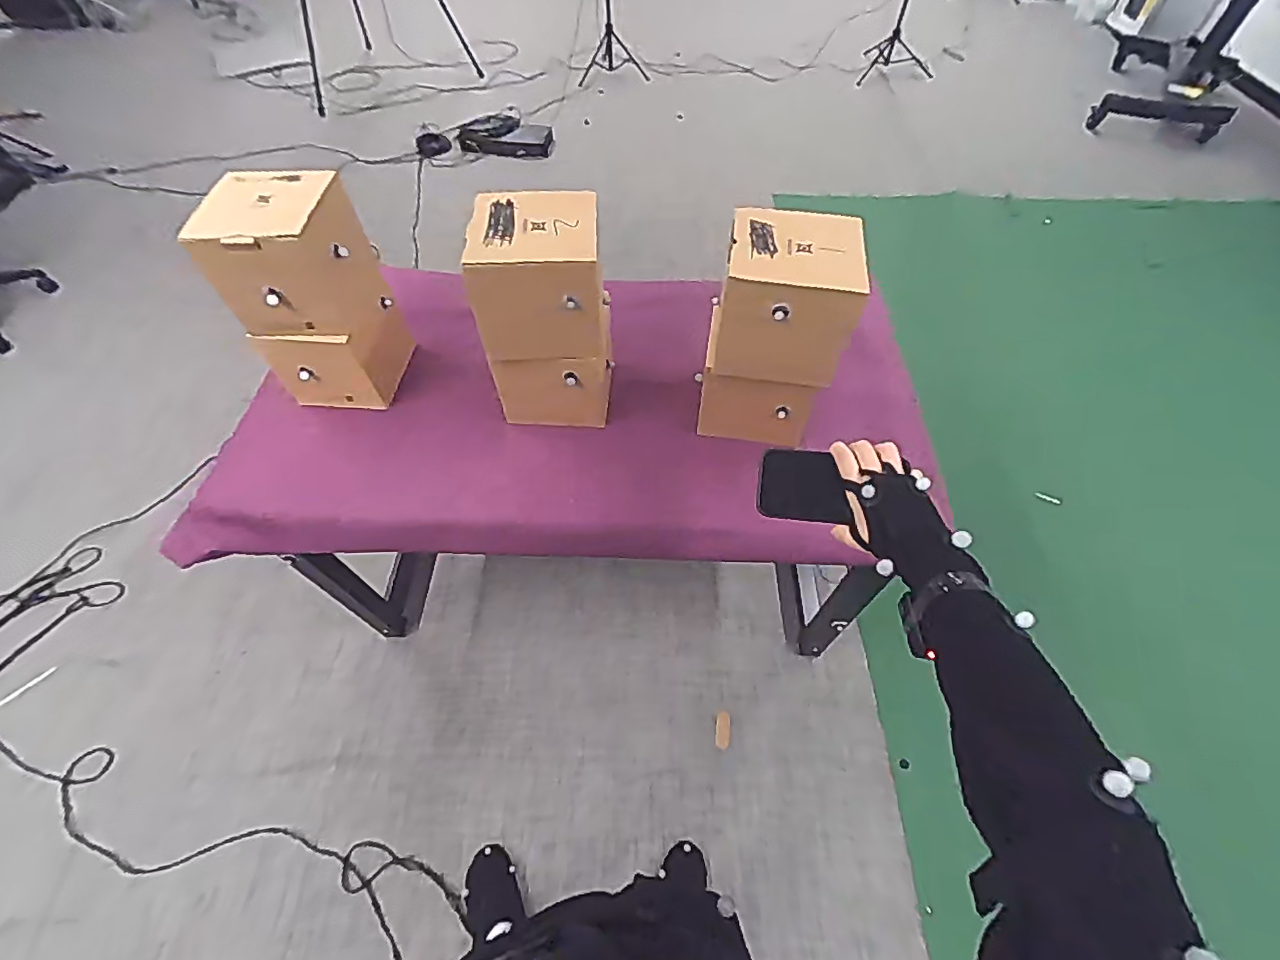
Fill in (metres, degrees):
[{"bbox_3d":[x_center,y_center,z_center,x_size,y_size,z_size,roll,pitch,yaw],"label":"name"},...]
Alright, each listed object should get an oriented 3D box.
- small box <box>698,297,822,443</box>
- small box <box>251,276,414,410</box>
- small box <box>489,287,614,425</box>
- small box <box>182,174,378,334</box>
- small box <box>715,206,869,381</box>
[{"bbox_3d":[0.199,-0.181,0.912,0.179,0.176,0.168,7,56,7],"label":"small box"},{"bbox_3d":[-0.529,-0.241,0.963,0.168,0.176,0.179,3,56,3],"label":"small box"},{"bbox_3d":[-0.140,-0.208,0.933,0.179,0.176,0.168,2,56,3],"label":"small box"},{"bbox_3d":[-0.531,-0.340,0.832,0.168,0.176,0.179,-1,57,-1],"label":"small box"},{"bbox_3d":[0.204,-0.260,0.767,0.179,0.176,0.168,8,56,5],"label":"small box"}]
